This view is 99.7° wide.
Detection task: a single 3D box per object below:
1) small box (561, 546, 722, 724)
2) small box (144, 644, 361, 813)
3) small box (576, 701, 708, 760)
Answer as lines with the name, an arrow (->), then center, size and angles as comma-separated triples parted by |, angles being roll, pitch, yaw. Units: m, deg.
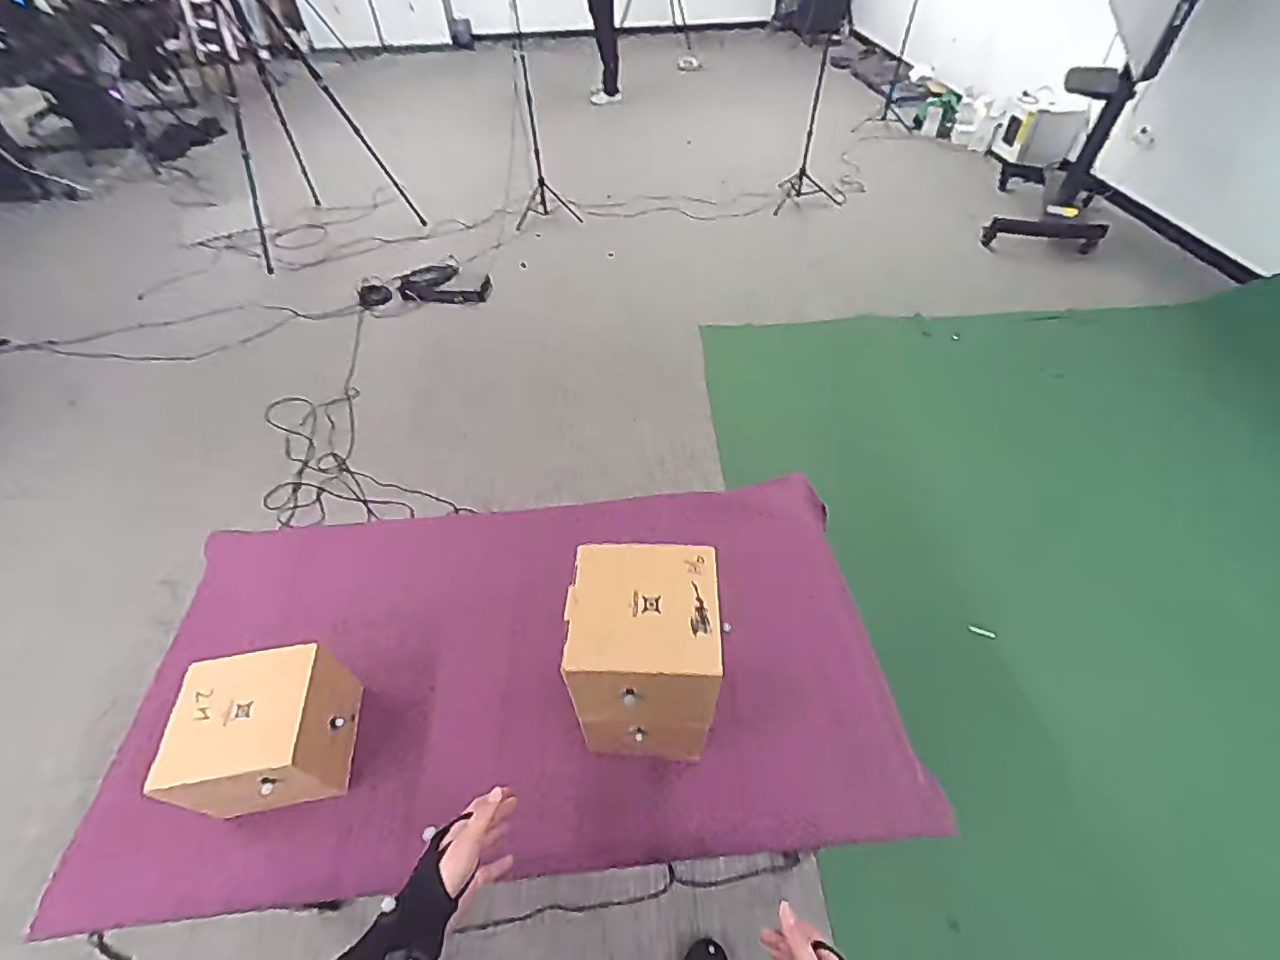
small box -> 0.010, 0.199, 0.685 | 0.179, 0.176, 0.168 | 1, 50, 4
small box -> -0.529, 0.357, 0.775 | 0.179, 0.176, 0.168 | -8, 49, -5
small box -> 0.013, 0.305, 0.809 | 0.179, 0.176, 0.168 | 4, 49, 5
